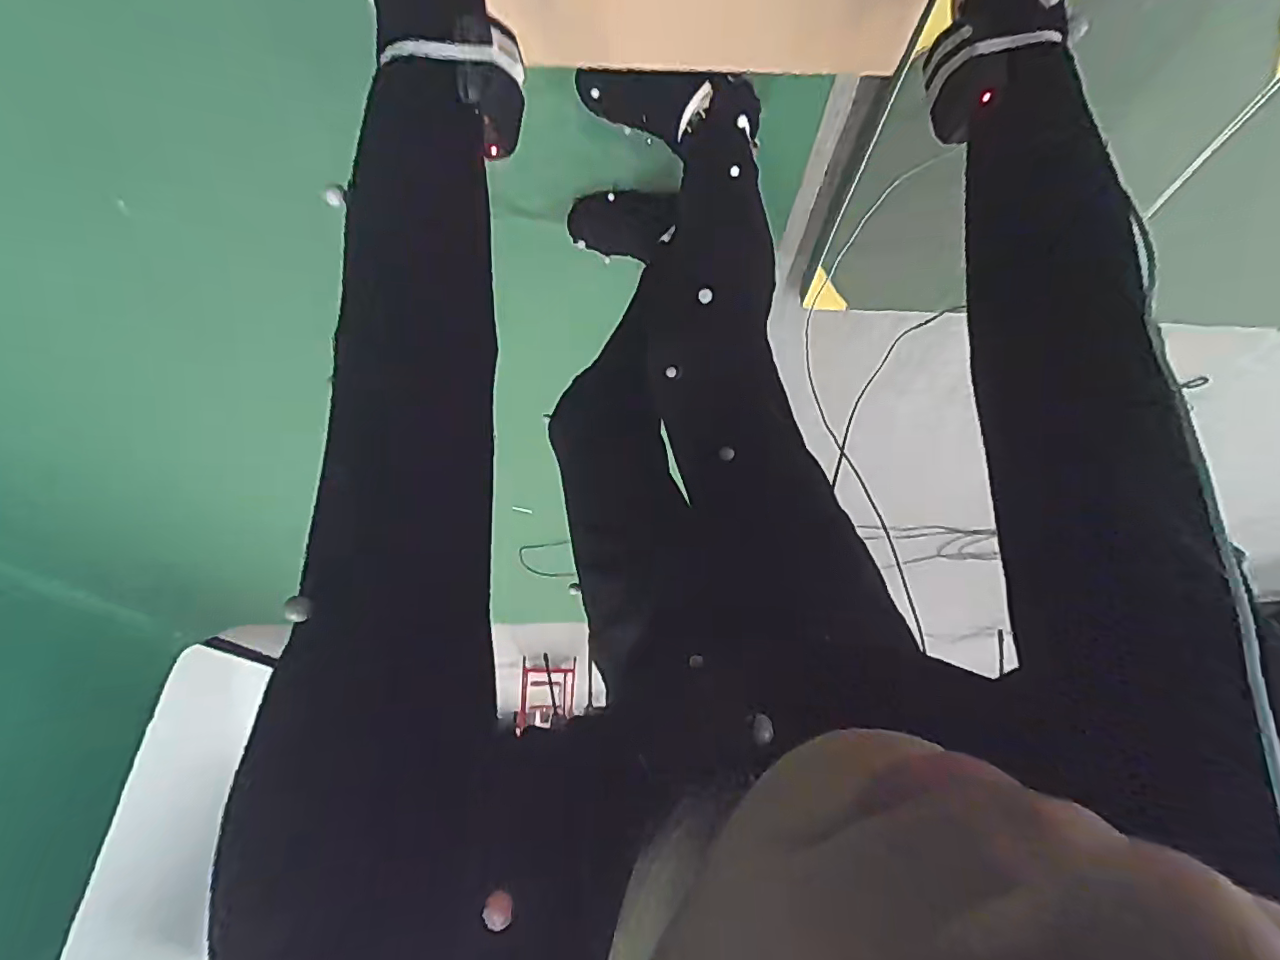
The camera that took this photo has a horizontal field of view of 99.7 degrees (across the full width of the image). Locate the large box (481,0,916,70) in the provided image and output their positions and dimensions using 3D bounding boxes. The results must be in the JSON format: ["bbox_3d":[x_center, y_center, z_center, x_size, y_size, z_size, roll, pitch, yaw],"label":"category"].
[{"bbox_3d":[0.052,-0.607,0.456,0.408,0.320,0.320,-2,158,-4],"label":"large box"}]
